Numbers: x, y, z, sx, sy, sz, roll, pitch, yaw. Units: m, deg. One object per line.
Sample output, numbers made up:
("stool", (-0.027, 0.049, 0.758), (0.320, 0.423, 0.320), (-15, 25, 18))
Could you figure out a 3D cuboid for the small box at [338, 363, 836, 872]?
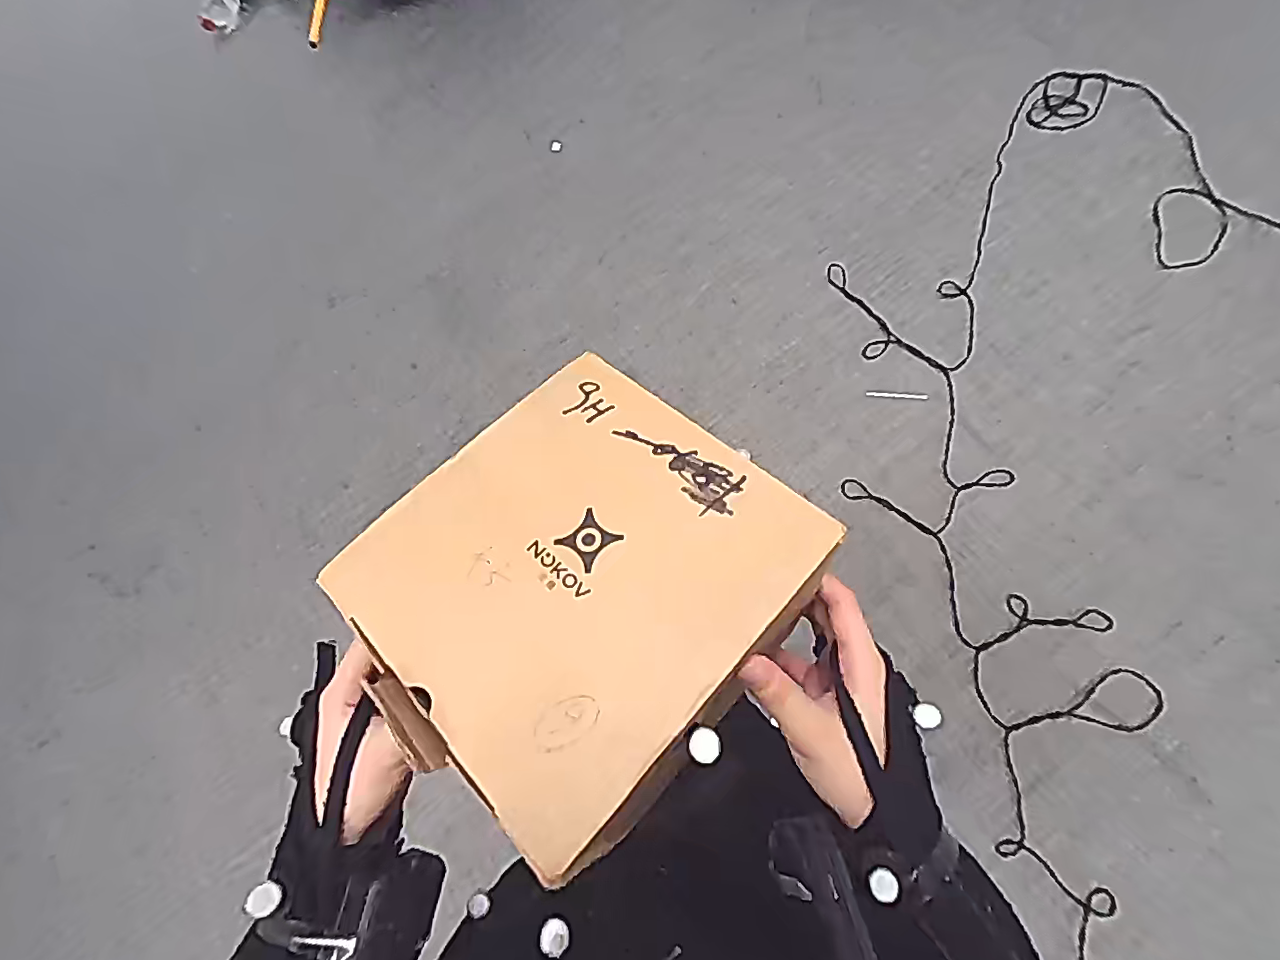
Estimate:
("small box", (-0.018, 0.075, 0.314), (0.168, 0.176, 0.179), (38, 72, 24))
